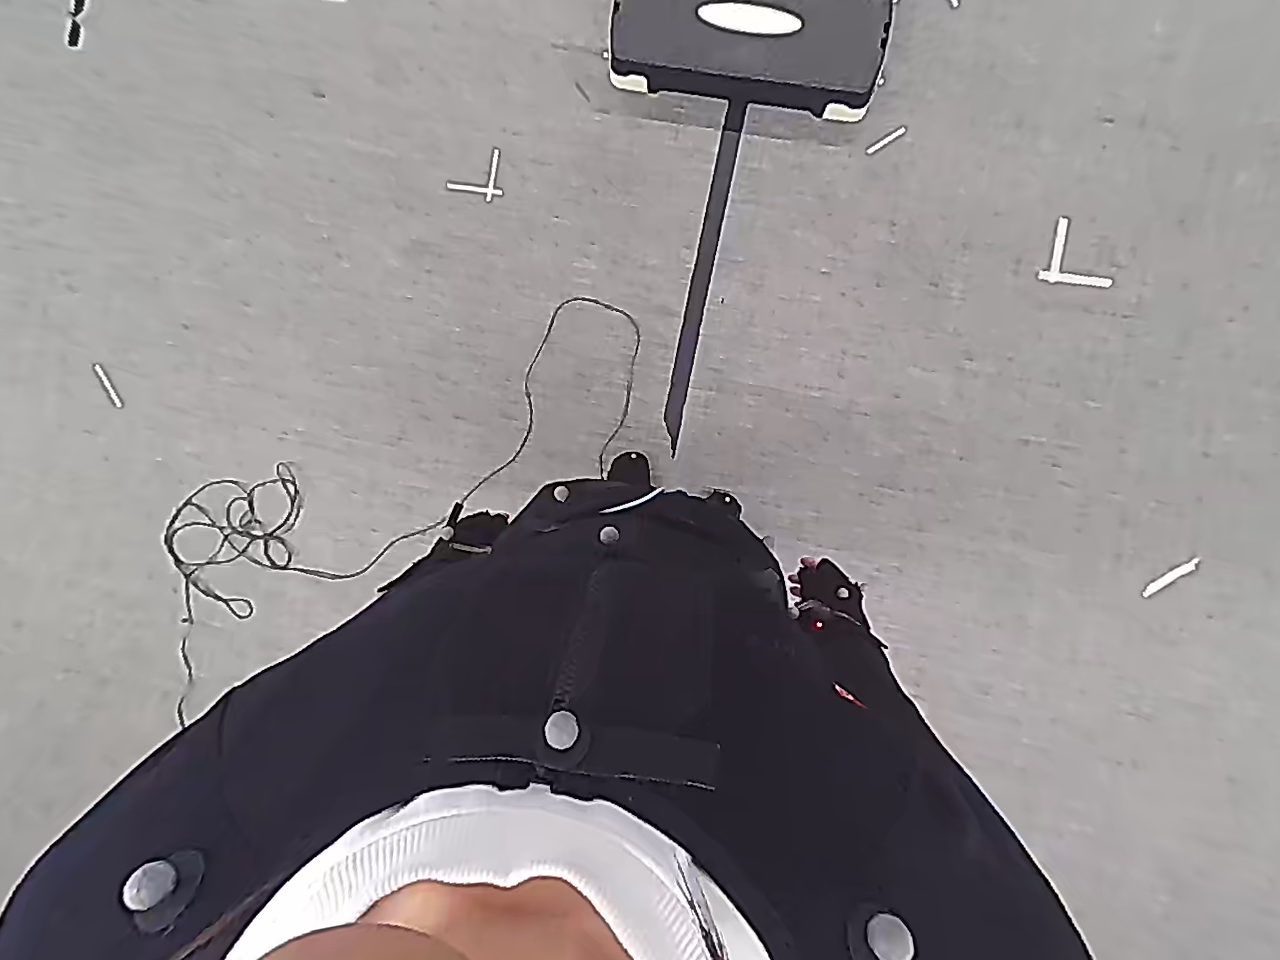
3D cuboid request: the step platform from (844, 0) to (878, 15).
[{"bbox_3d":[0.285,-1.359,1.286,0.684,0.204,0.286,10,93,3],"label":"step platform"}]
